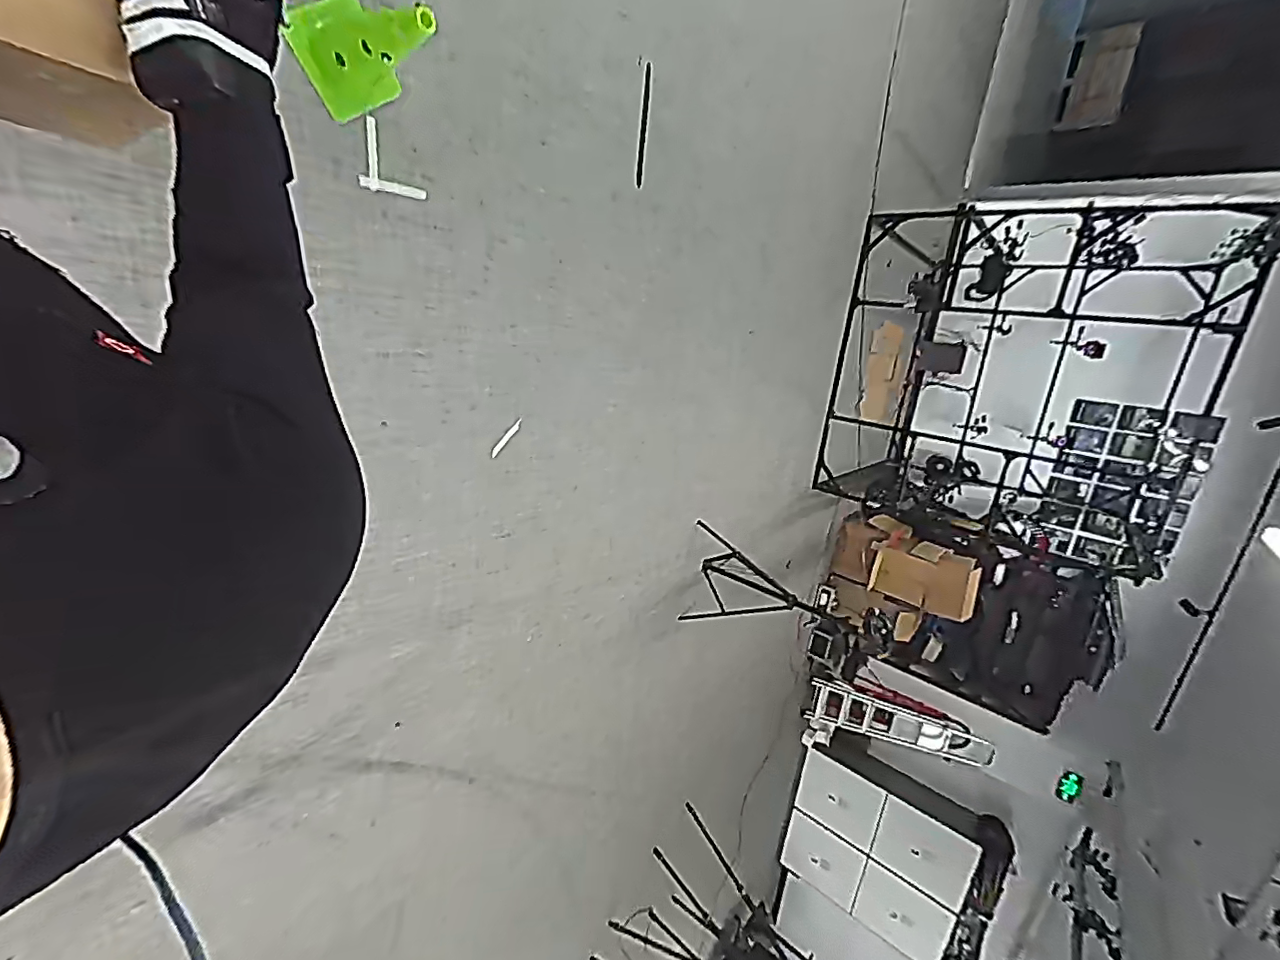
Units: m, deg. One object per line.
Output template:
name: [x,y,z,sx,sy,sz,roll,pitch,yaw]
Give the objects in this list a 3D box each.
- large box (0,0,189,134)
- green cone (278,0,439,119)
large box: [-0.563,-0.460,0.310,0.408,0.320,0.320,-8,112,-51]
green cone: [-0.537,-0.909,1.118,0.202,0.368,0.200,-52,140,-27]
